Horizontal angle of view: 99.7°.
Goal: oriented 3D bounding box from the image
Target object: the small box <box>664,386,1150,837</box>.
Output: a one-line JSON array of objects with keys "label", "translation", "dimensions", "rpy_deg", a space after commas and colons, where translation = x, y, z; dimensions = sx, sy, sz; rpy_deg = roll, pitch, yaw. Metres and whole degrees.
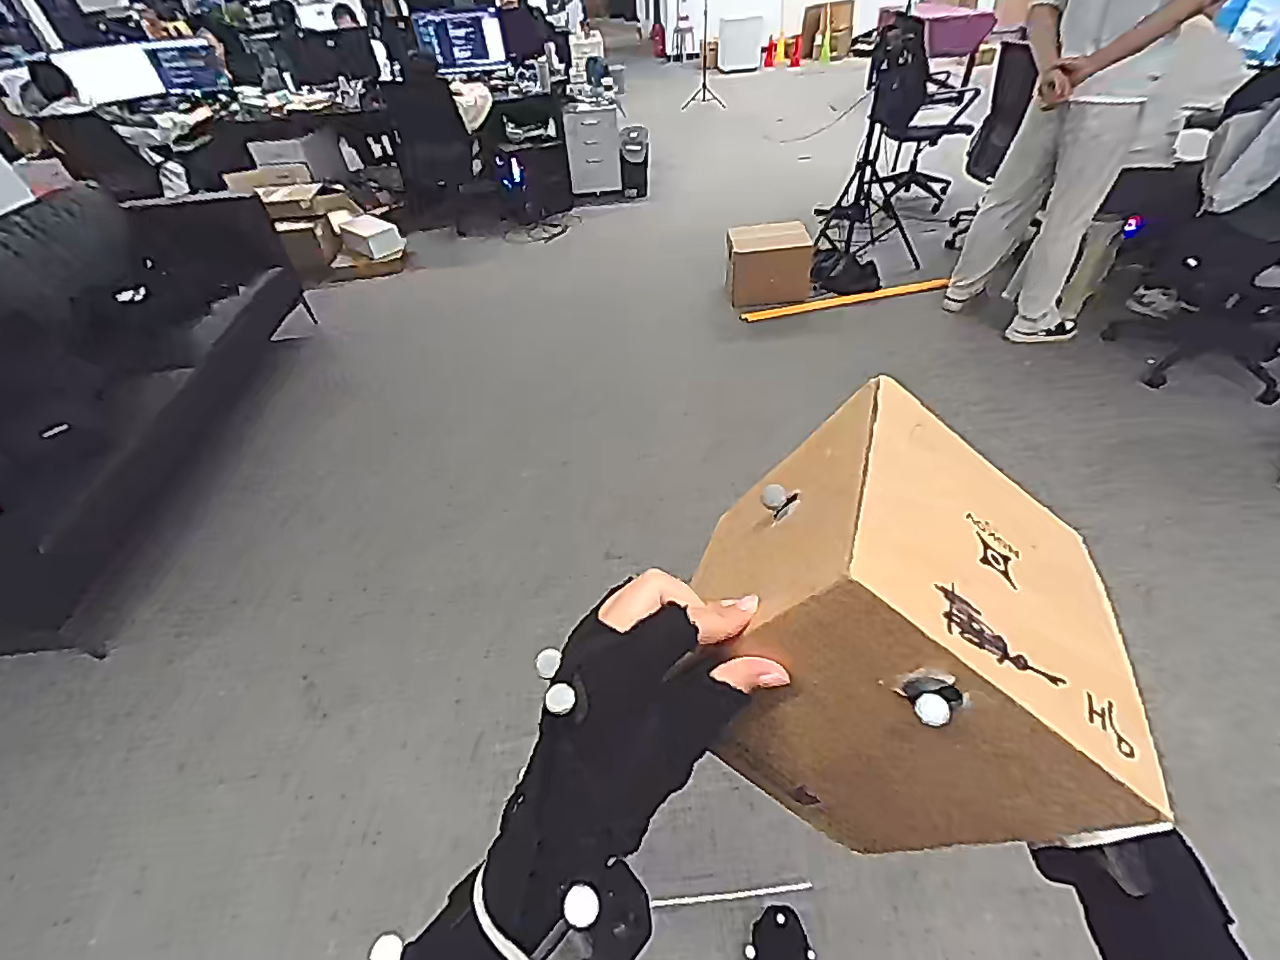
[{"label": "small box", "translation": [0.139, 0.081, 0.335], "dimensions": [0.168, 0.176, 0.179], "rpy_deg": [36, 42, -2]}]
